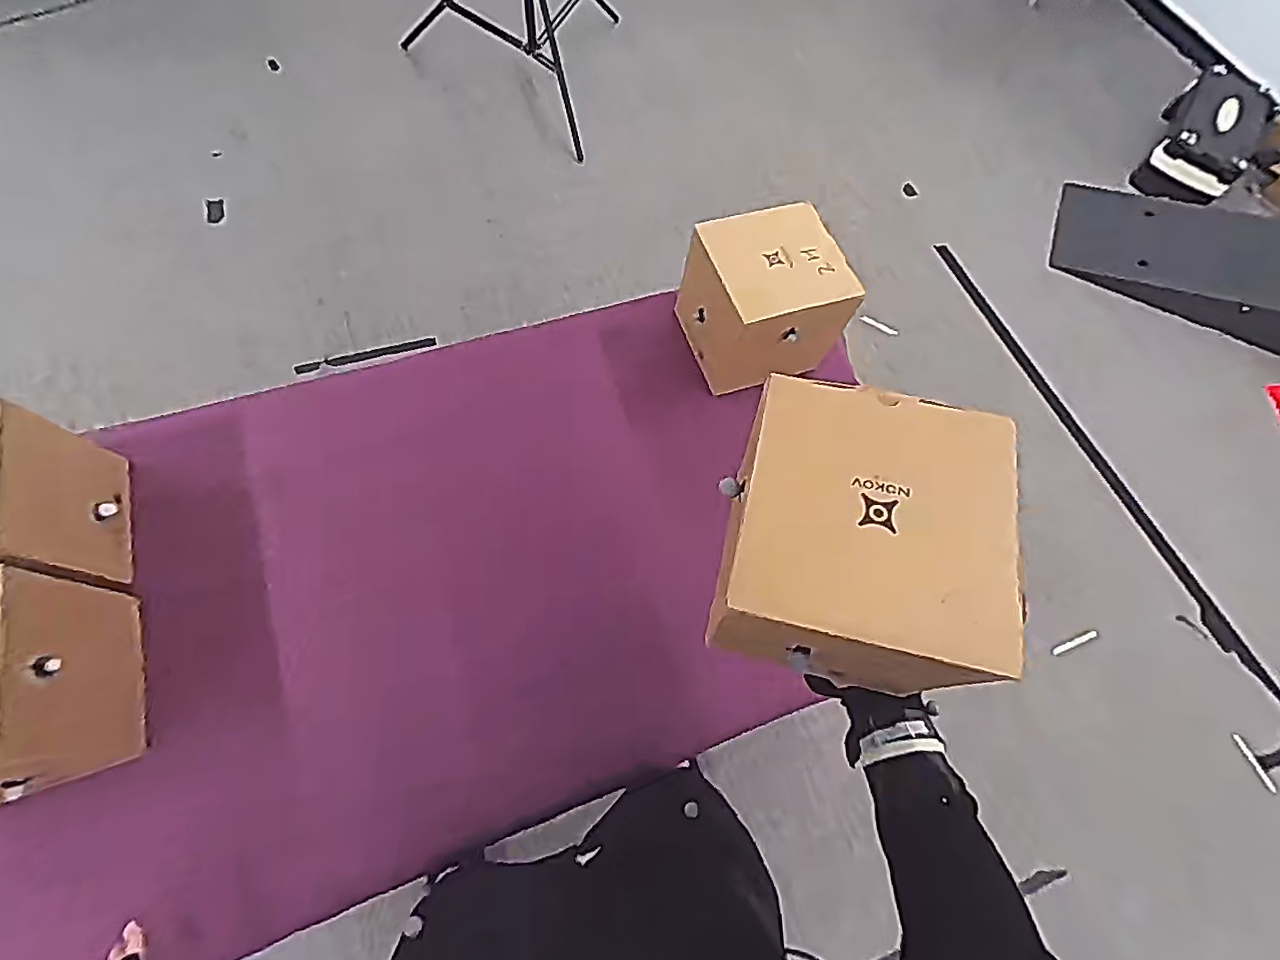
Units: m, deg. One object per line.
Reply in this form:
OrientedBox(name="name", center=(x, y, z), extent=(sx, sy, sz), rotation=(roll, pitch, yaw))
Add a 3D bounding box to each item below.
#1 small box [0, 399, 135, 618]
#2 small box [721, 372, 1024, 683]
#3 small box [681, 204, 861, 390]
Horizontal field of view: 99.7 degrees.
OrientedBox(name="small box", center=(-0.687, 0.043, 0.562), extent=(0.179, 0.176, 0.168), rotation=(-15, 72, -13))
OrientedBox(name="small box", center=(0.160, 0.047, 0.418), extent=(0.168, 0.176, 0.179), rotation=(11, 65, 8))
OrientedBox(name="small box", center=(0.166, -0.248, 0.760), extent=(0.179, 0.176, 0.168), rotation=(-17, 71, -12))
